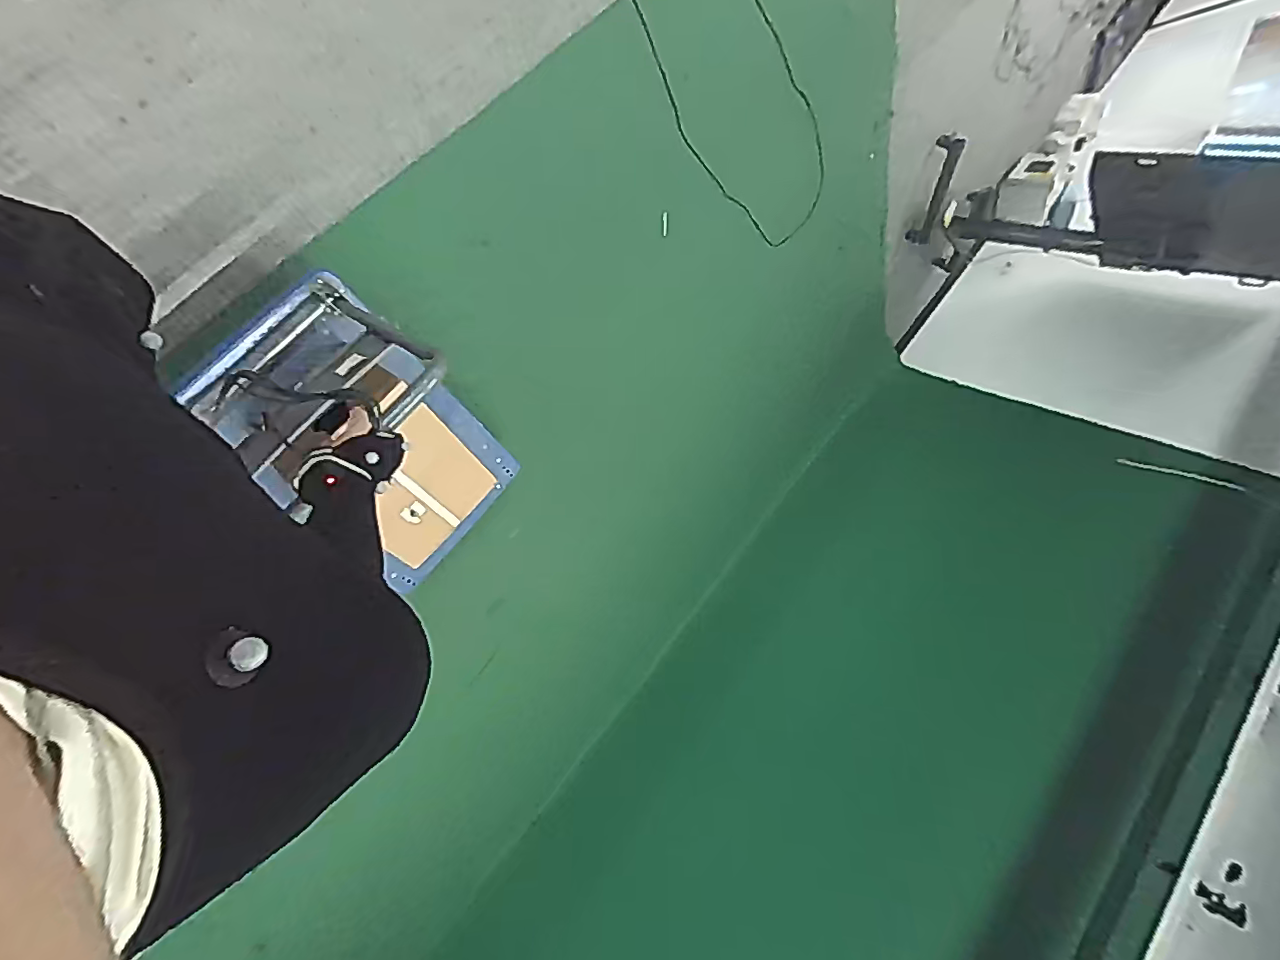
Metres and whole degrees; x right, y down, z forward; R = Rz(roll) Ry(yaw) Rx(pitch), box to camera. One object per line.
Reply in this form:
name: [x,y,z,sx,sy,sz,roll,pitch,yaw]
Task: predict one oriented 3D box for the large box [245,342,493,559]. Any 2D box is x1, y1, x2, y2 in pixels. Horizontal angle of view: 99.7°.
large box: [-0.663,-0.072,1.363,0.320,0.320,0.408,-49,144,-15]
